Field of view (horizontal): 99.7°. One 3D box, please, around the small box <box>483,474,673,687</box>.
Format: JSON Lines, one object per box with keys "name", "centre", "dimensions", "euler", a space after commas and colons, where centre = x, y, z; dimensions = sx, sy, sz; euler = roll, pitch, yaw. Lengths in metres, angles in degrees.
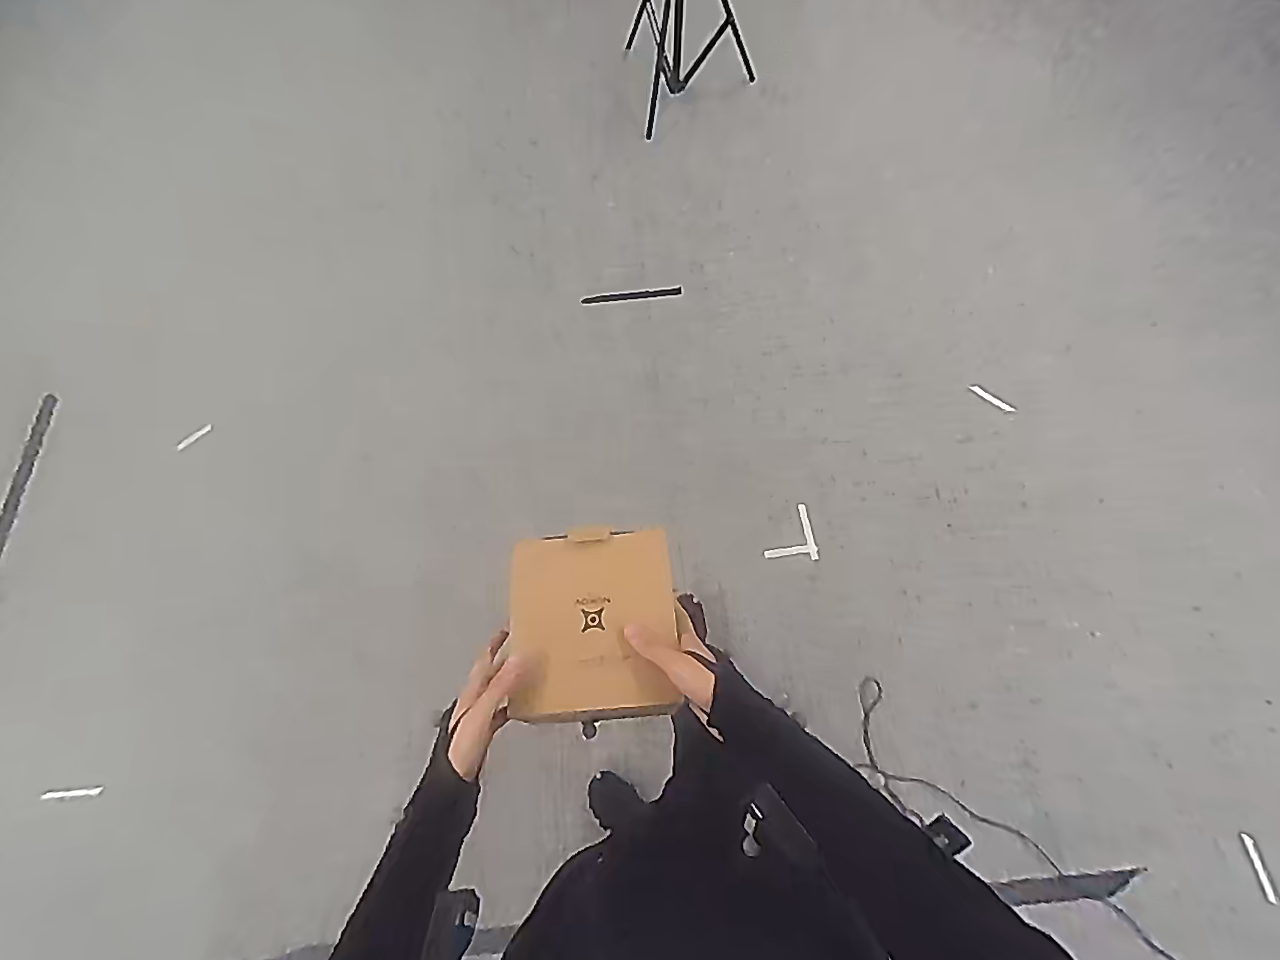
{"name": "small box", "centre": [-0.060, 0.111, 0.571], "dimensions": [0.168, 0.176, 0.179], "euler": [-4, 63, -3]}
